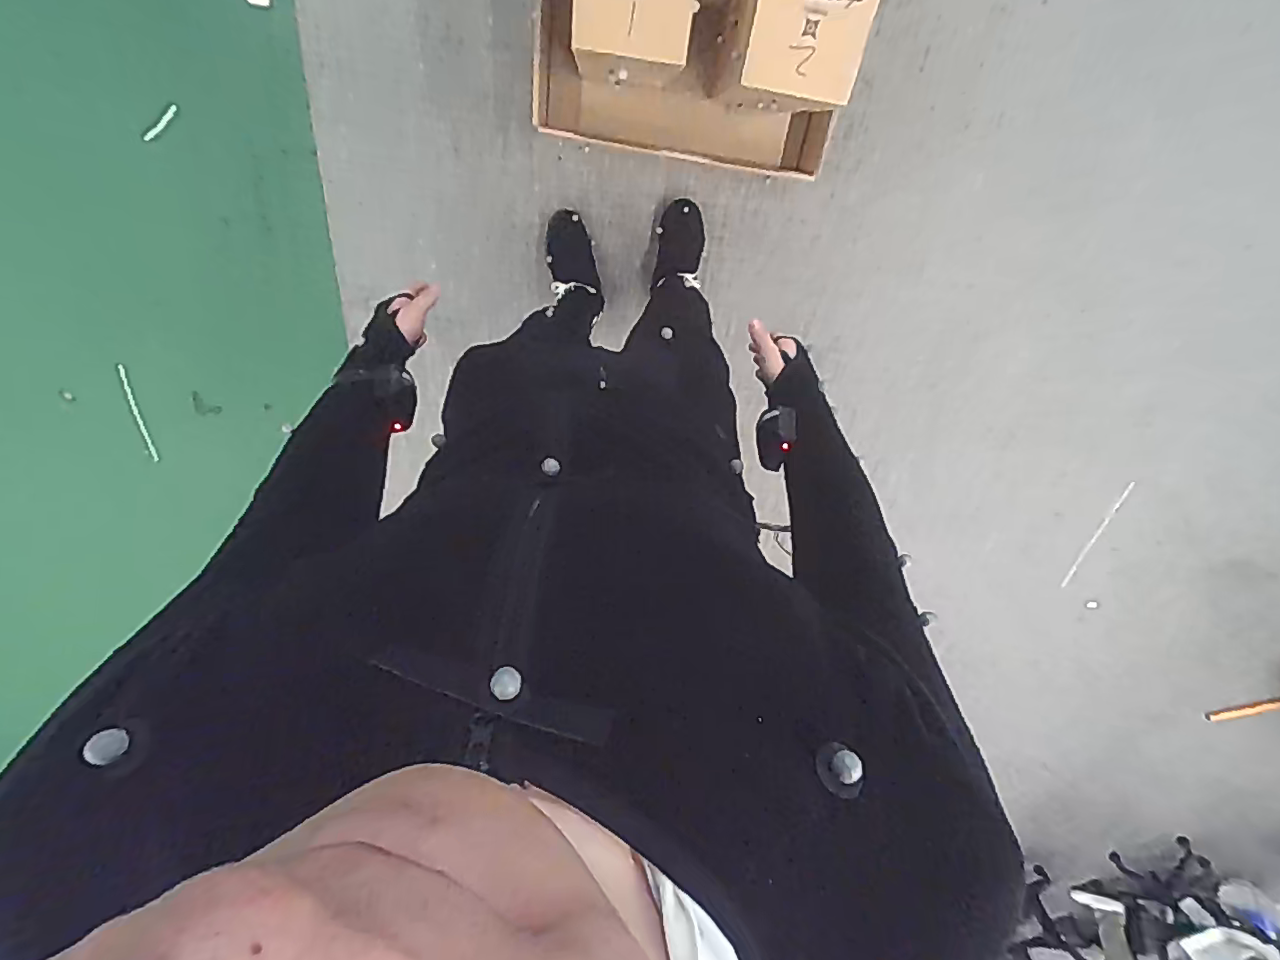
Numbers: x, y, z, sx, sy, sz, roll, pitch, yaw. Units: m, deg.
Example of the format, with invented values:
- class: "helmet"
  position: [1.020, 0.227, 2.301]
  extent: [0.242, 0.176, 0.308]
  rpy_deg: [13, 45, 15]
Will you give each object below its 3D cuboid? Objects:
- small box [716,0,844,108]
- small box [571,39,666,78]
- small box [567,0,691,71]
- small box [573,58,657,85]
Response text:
- class: "small box"
  position: [0.236, -0.774, 0.945]
  extent: [0.168, 0.176, 0.179]
  rpy_deg: [7, 121, -4]
- class: "small box"
  position: [-0.024, -0.803, 0.916]
  extent: [0.168, 0.176, 0.179]
  rpy_deg: [5, 121, -6]
- class: "small box"
  position: [-0.013, -0.716, 0.777]
  extent: [0.168, 0.176, 0.179]
  rpy_deg: [5, 122, -6]
- class: "small box"
  position: [-0.035, -0.890, 1.052]
  extent: [0.168, 0.176, 0.179]
  rpy_deg: [6, 122, -7]
